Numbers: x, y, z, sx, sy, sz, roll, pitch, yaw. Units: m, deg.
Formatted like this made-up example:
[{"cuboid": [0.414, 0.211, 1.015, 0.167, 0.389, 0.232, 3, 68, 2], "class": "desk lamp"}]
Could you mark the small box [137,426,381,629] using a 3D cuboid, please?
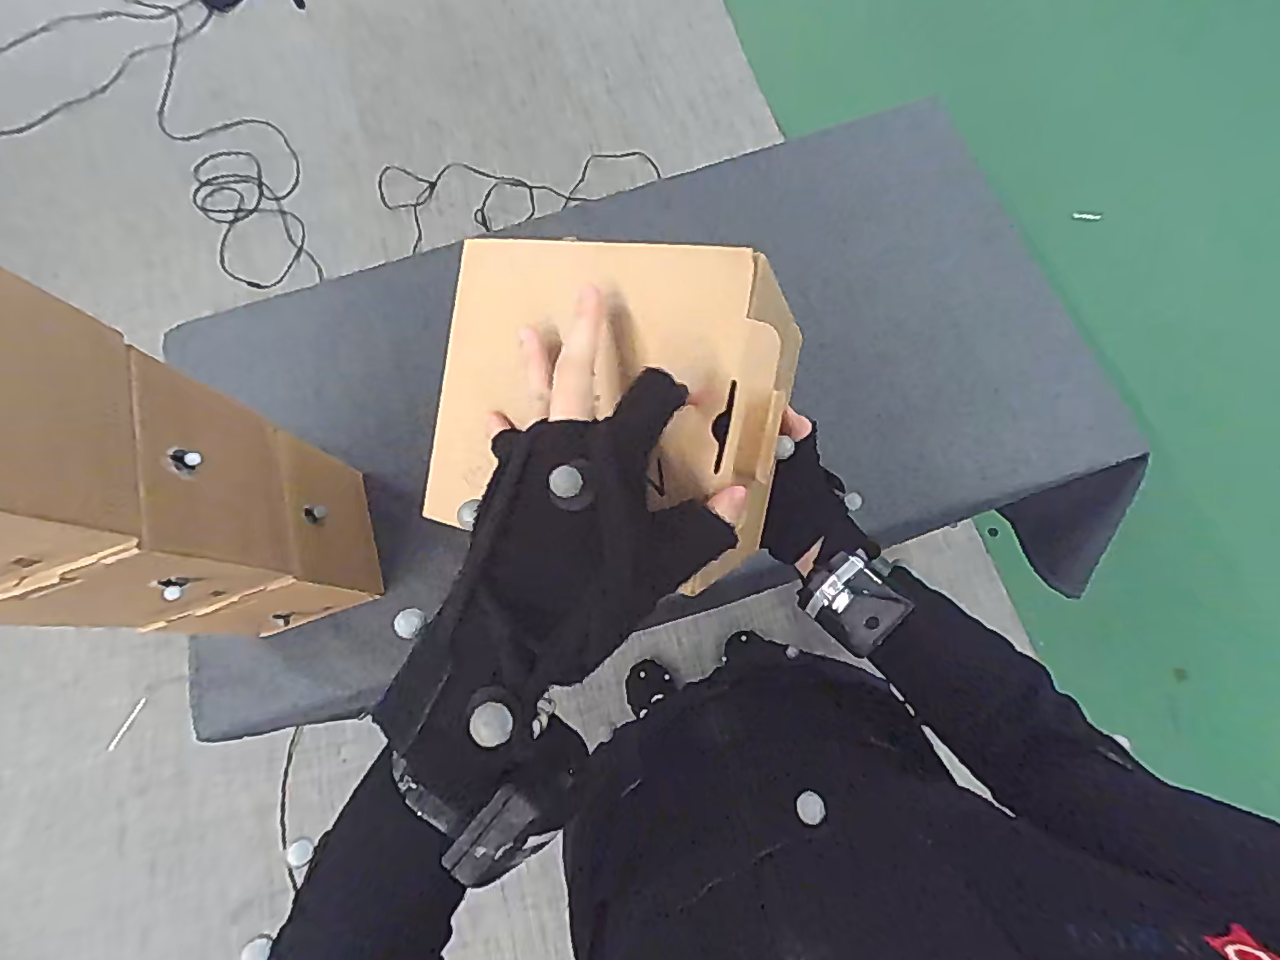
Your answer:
[{"cuboid": [-0.433, 0.066, 0.631, 0.168, 0.176, 0.179, -19, 74, -1], "class": "small box"}]

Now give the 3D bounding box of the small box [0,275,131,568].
[{"cuboid": [-0.458, -0.037, 0.322, 0.168, 0.176, 0.179, -19, 73, -3], "class": "small box"}]

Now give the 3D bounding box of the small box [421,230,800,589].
[{"cuboid": [-0.006, -0.045, 0.356, 0.179, 0.176, 0.168, 13, 96, 21], "class": "small box"}]

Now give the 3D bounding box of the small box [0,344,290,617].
[{"cuboid": [-0.444, 0.016, 0.477, 0.168, 0.176, 0.179, -18, 73, -2], "class": "small box"}]
